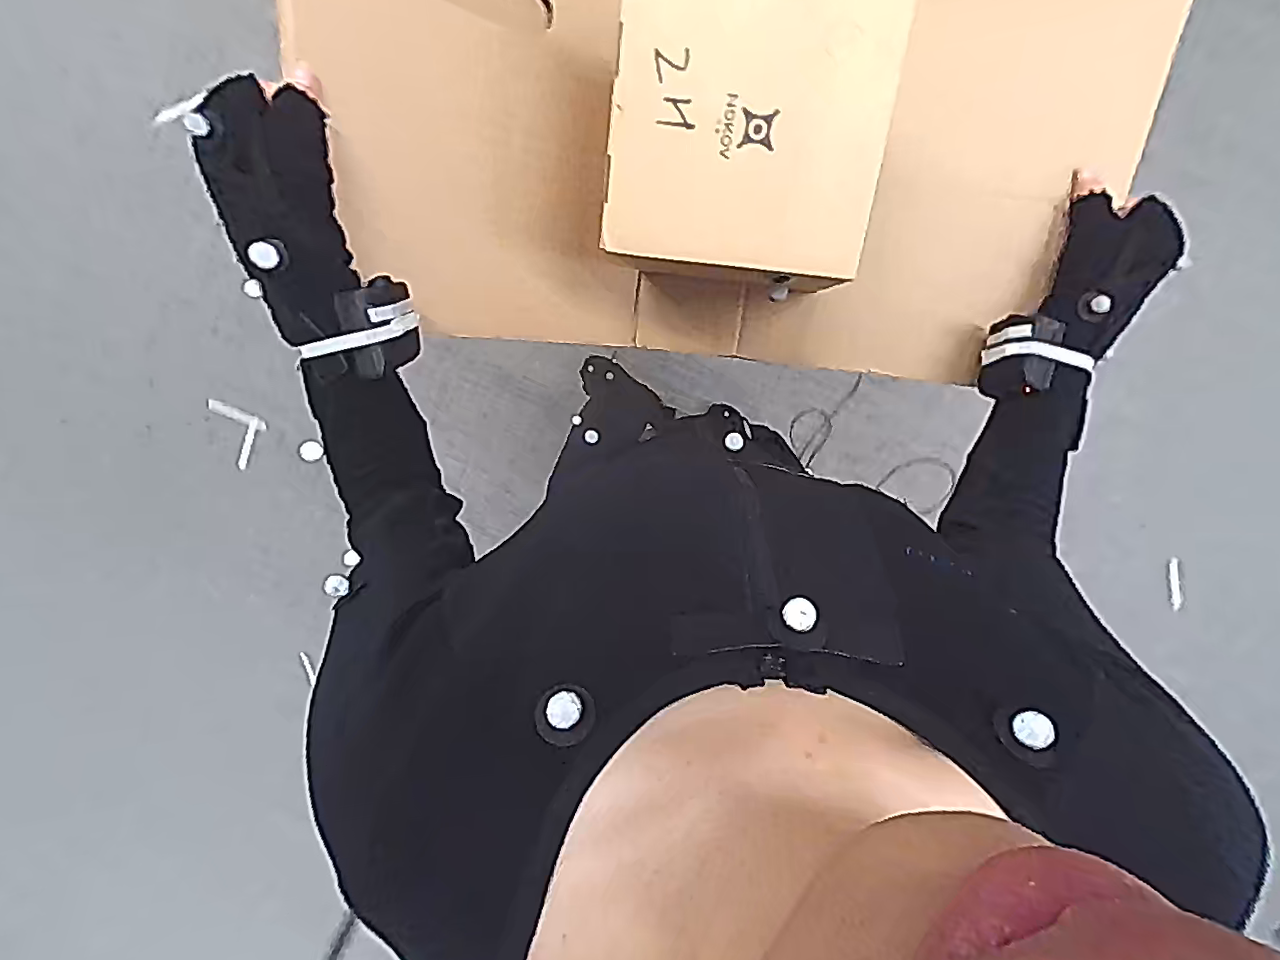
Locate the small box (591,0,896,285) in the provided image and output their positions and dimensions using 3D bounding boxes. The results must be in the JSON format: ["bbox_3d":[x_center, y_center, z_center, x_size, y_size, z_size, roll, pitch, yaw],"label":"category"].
[{"bbox_3d":[0.072,-0.251,0.427,0.179,0.176,0.168,9,108,8],"label":"small box"}]
